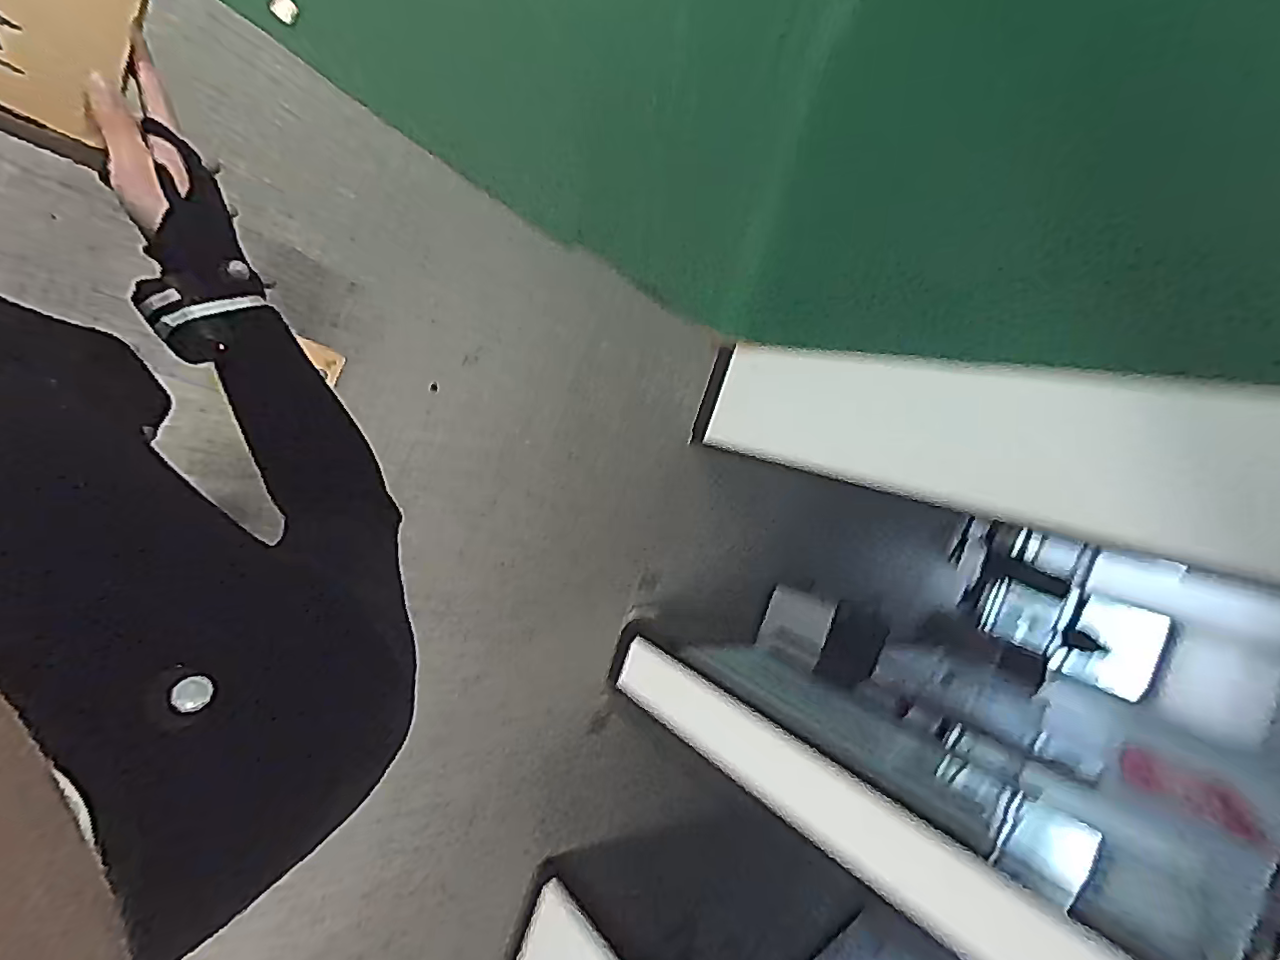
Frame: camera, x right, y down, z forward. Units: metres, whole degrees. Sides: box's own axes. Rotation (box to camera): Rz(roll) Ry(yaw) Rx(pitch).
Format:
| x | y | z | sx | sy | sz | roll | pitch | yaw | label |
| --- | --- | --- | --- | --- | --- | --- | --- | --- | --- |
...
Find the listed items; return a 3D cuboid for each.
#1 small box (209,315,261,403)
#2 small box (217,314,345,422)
| x | y | z | sx | sy | sz | roll | pitch | yaw | label |
| --- | --- | --- | --- | --- | --- | --- | --- | --- | --- |
| -0.898 | -0.279 | 1.296 | 0.168 | 0.176 | 0.179 | 28 | 85 | -46 | small box |
| -0.788 | -0.244 | 1.181 | 0.179 | 0.176 | 0.168 | 27 | 85 | -45 | small box |
